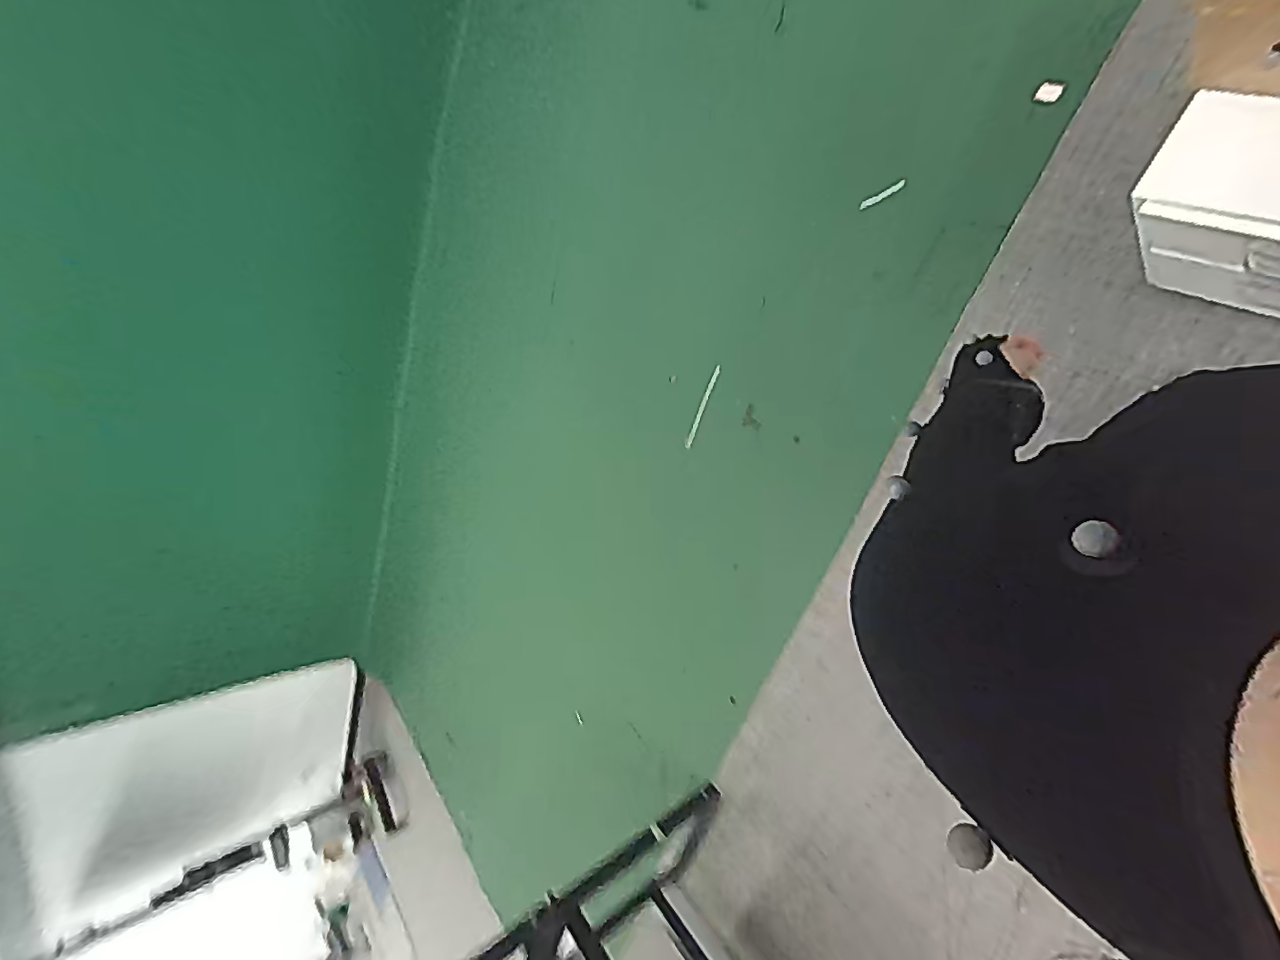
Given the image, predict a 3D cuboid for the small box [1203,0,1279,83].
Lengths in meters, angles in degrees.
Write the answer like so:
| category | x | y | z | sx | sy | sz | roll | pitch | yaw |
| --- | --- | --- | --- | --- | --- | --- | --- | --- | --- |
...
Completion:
| category | x | y | z | sx | sy | sz | roll | pitch | yaw |
| --- | --- | --- | --- | --- | --- | --- | --- | --- | --- |
| small box | 0.681 | -0.490 | 0.499 | 0.179 | 0.176 | 0.168 | 39 | 120 | 34 |
